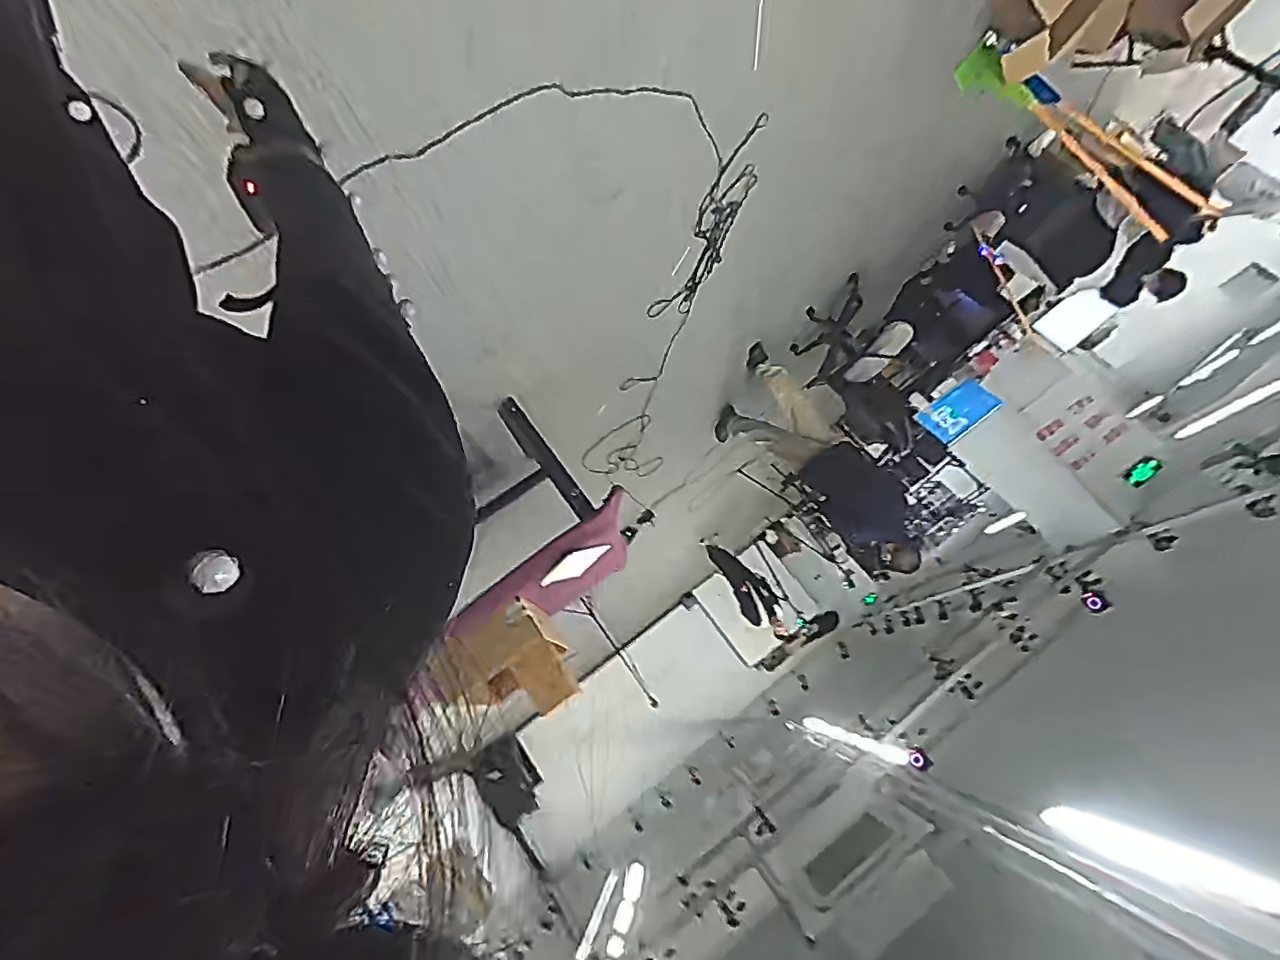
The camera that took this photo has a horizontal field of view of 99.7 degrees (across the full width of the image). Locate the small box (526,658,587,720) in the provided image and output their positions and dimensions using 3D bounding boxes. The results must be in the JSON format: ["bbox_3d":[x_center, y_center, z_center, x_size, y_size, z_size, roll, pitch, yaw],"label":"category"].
[{"bbox_3d":[-0.337,0.837,2.168,0.168,0.176,0.179,-36,159,-12],"label":"small box"}]
